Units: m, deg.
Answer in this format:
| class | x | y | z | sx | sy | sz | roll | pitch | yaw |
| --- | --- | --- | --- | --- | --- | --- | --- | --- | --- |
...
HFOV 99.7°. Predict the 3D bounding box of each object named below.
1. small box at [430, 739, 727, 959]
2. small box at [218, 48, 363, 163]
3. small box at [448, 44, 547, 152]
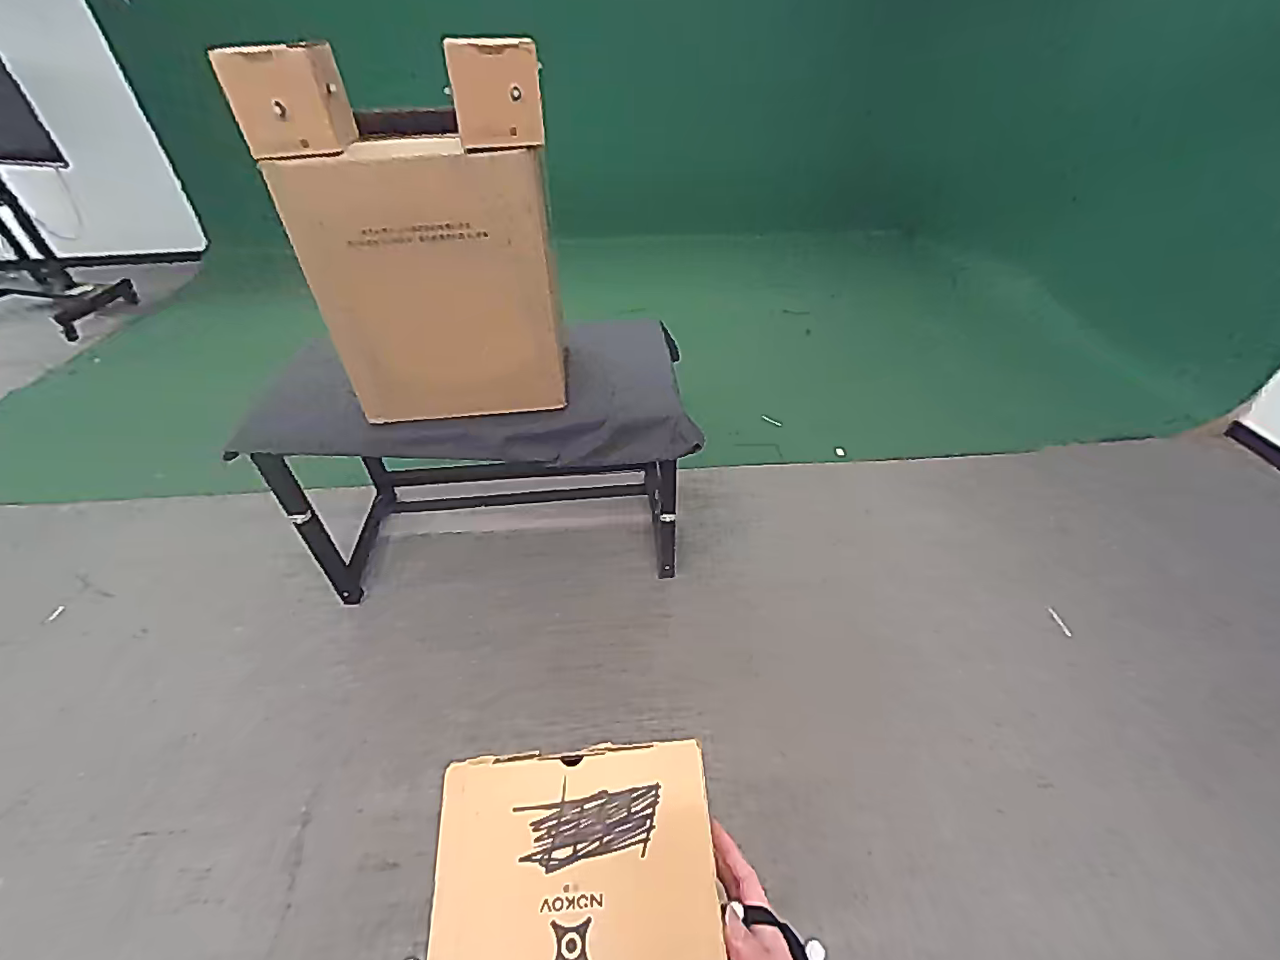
| class | x | y | z | sx | sy | sz | roll | pitch | yaw |
| --- | --- | --- | --- | --- | --- | --- | --- | --- | --- |
| small box | -0.029 | 0.291 | 0.369 | 0.168 | 0.176 | 0.179 | -7 | 57 | 2 |
| small box | -0.682 | -0.746 | 1.082 | 0.168 | 0.176 | 0.179 | -8 | 42 | -5 |
| small box | -0.286 | -0.774 | 1.099 | 0.168 | 0.176 | 0.179 | -8 | 40 | -10 |
